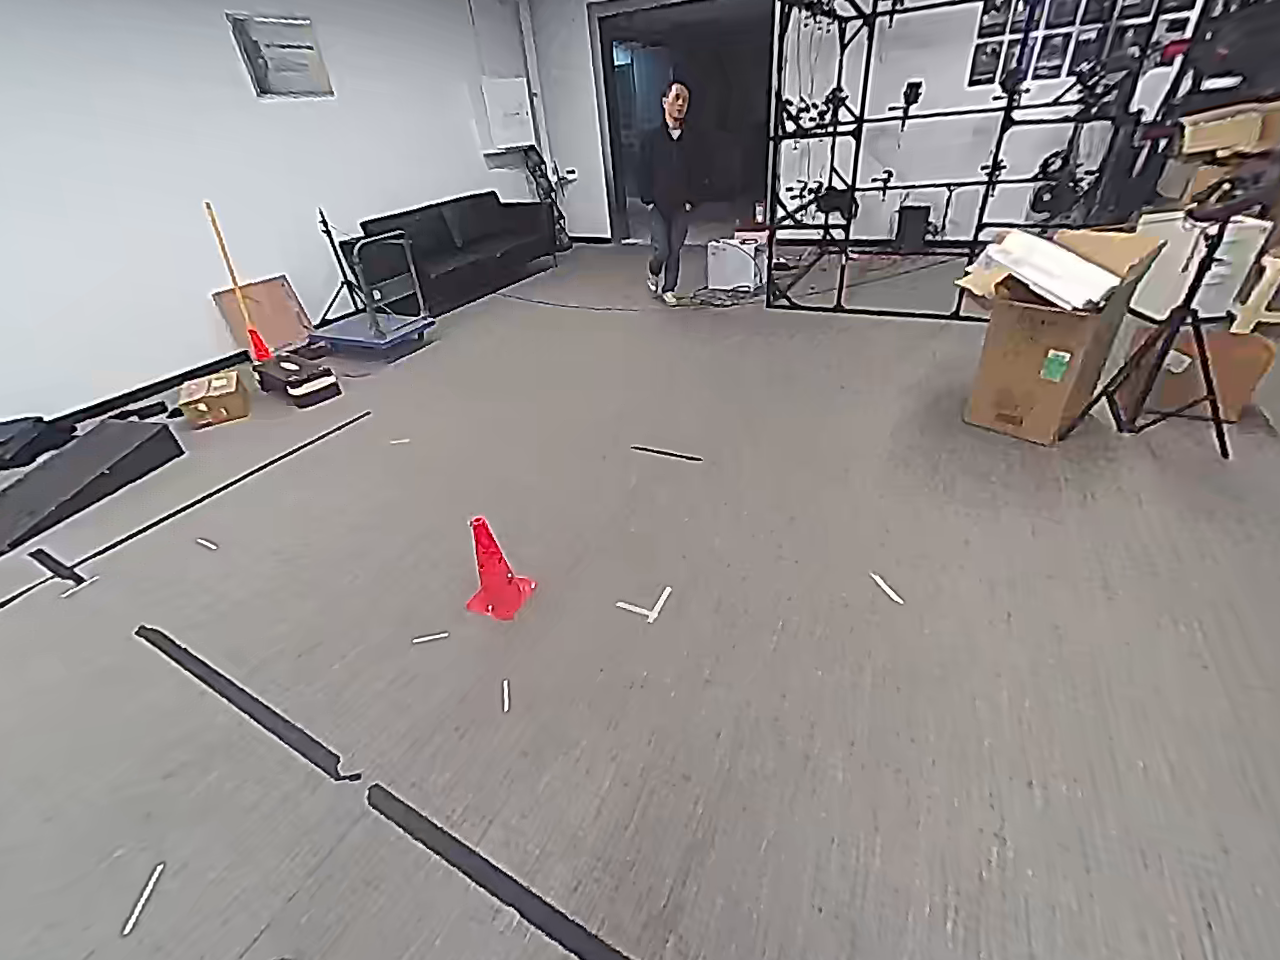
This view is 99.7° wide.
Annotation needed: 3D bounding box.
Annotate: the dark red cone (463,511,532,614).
[{"bbox_3d":[-0.529,0.268,1.880,0.202,0.394,0.201,8,37,20],"label":"dark red cone"}]
